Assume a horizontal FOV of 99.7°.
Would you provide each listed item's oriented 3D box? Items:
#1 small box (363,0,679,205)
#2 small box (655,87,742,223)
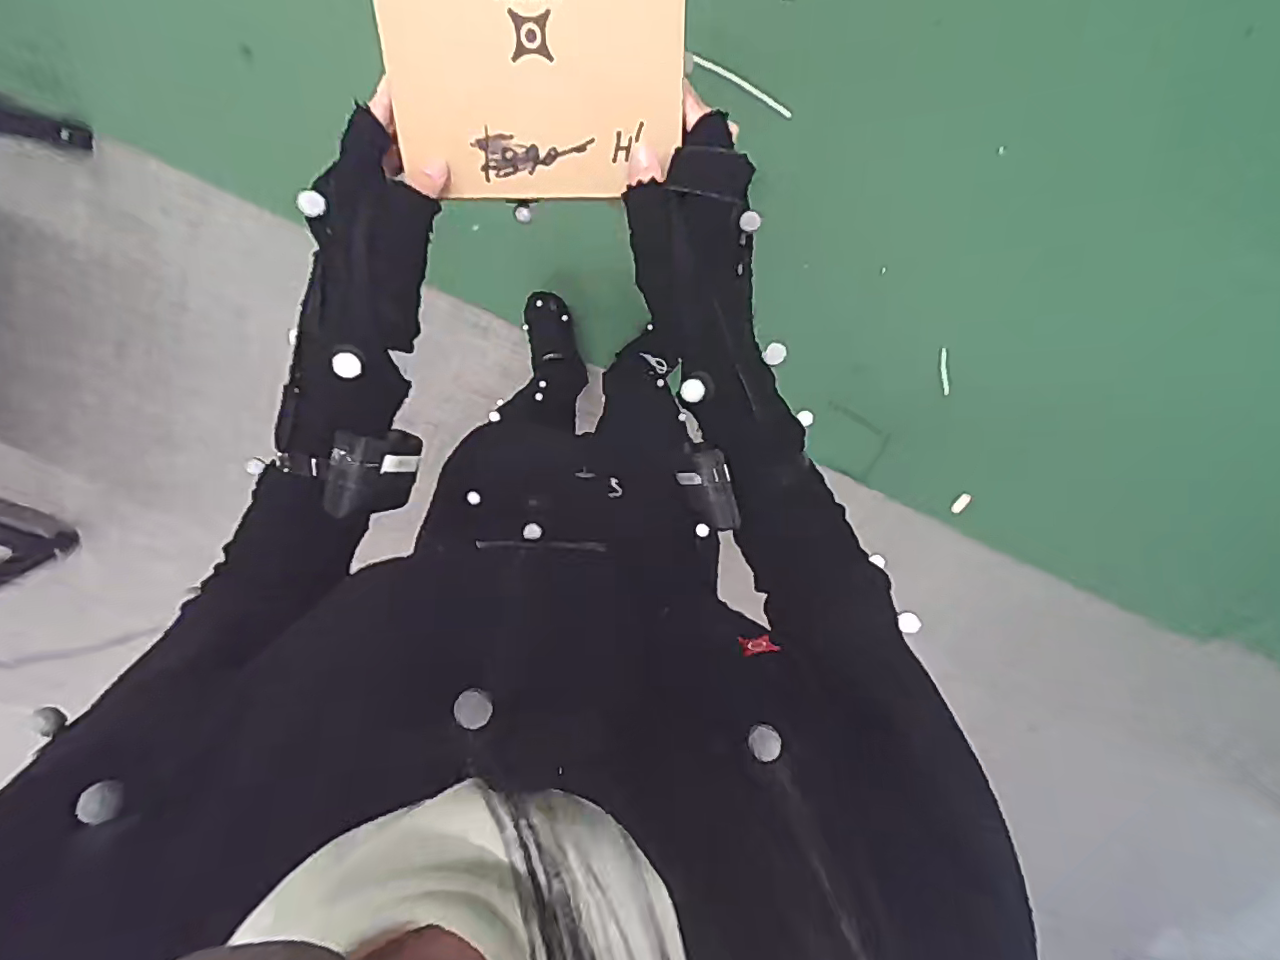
[{"bbox_3d":[-0.064,-0.280,0.354,0.168,0.176,0.179,-1,118,-1],"label":"small box"},{"bbox_3d":[0.082,-0.640,1.082,0.168,0.176,0.179,26,112,-6],"label":"small box"}]
